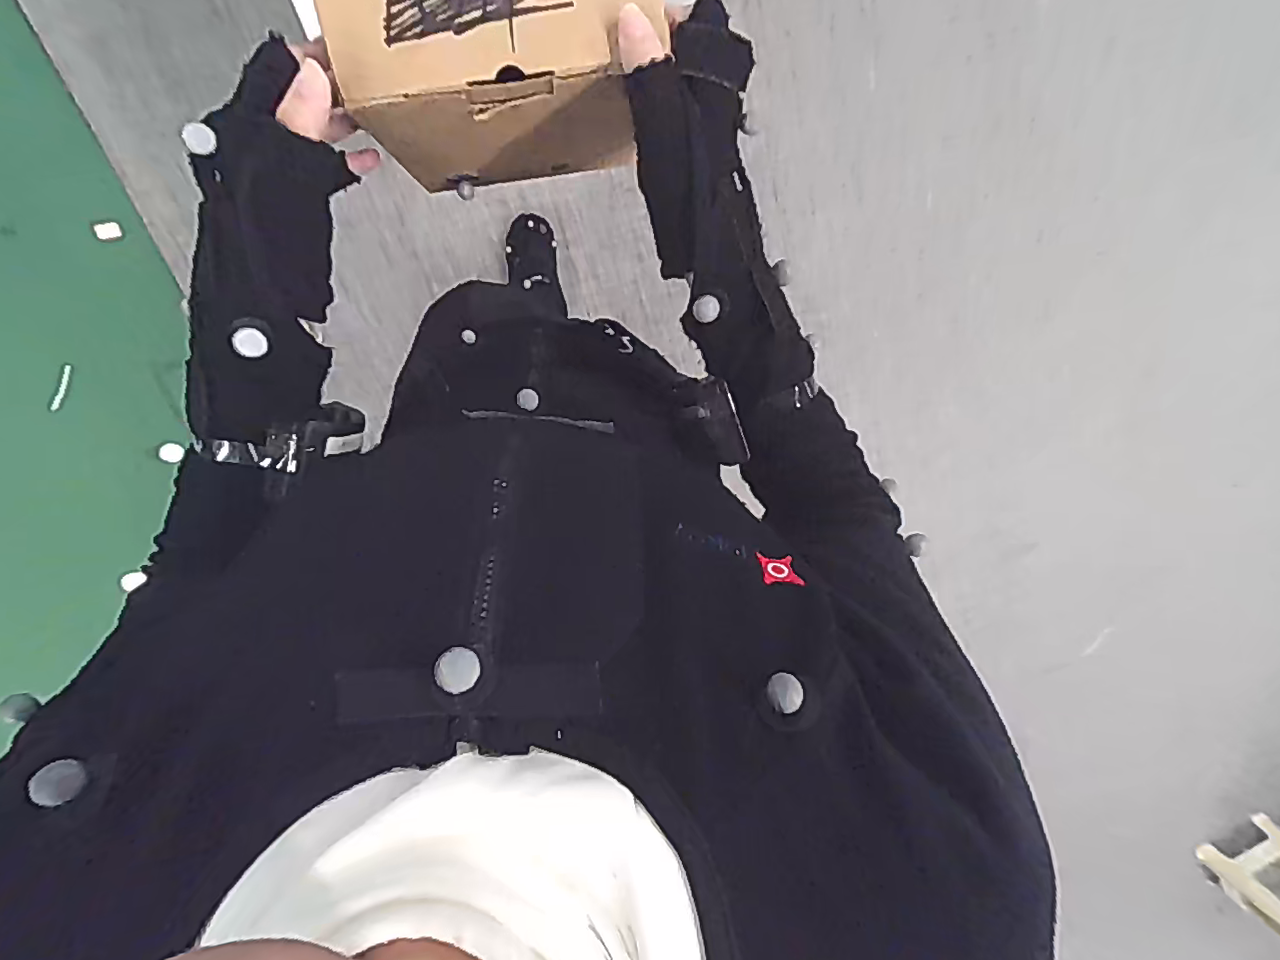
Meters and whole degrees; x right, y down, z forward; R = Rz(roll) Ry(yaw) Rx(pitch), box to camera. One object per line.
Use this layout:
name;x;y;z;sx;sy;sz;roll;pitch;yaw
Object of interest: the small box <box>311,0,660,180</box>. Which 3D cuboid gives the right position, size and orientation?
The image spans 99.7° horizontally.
small box;-0.087;-0.300;0.324;0.168;0.176;0.179;-11;104;-2
